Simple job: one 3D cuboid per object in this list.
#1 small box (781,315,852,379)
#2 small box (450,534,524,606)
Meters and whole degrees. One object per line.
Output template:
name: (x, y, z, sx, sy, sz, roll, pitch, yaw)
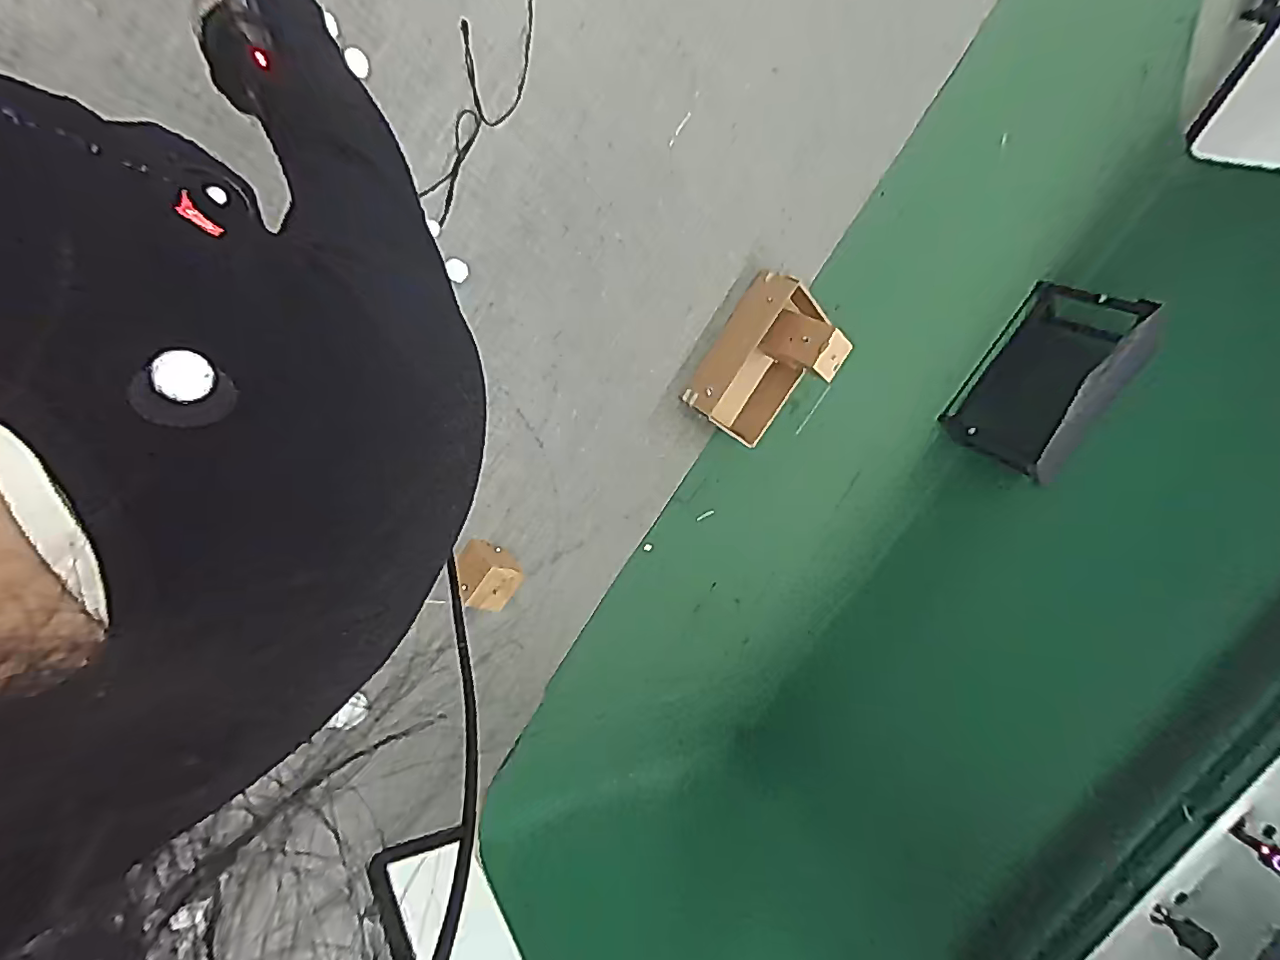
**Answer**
small box: (0.679, -0.521, 2.097, 0.179, 0.176, 0.168, 19, 106, -48)
small box: (-0.560, 0.324, 1.951, 0.179, 0.176, 0.168, -53, 142, 5)
